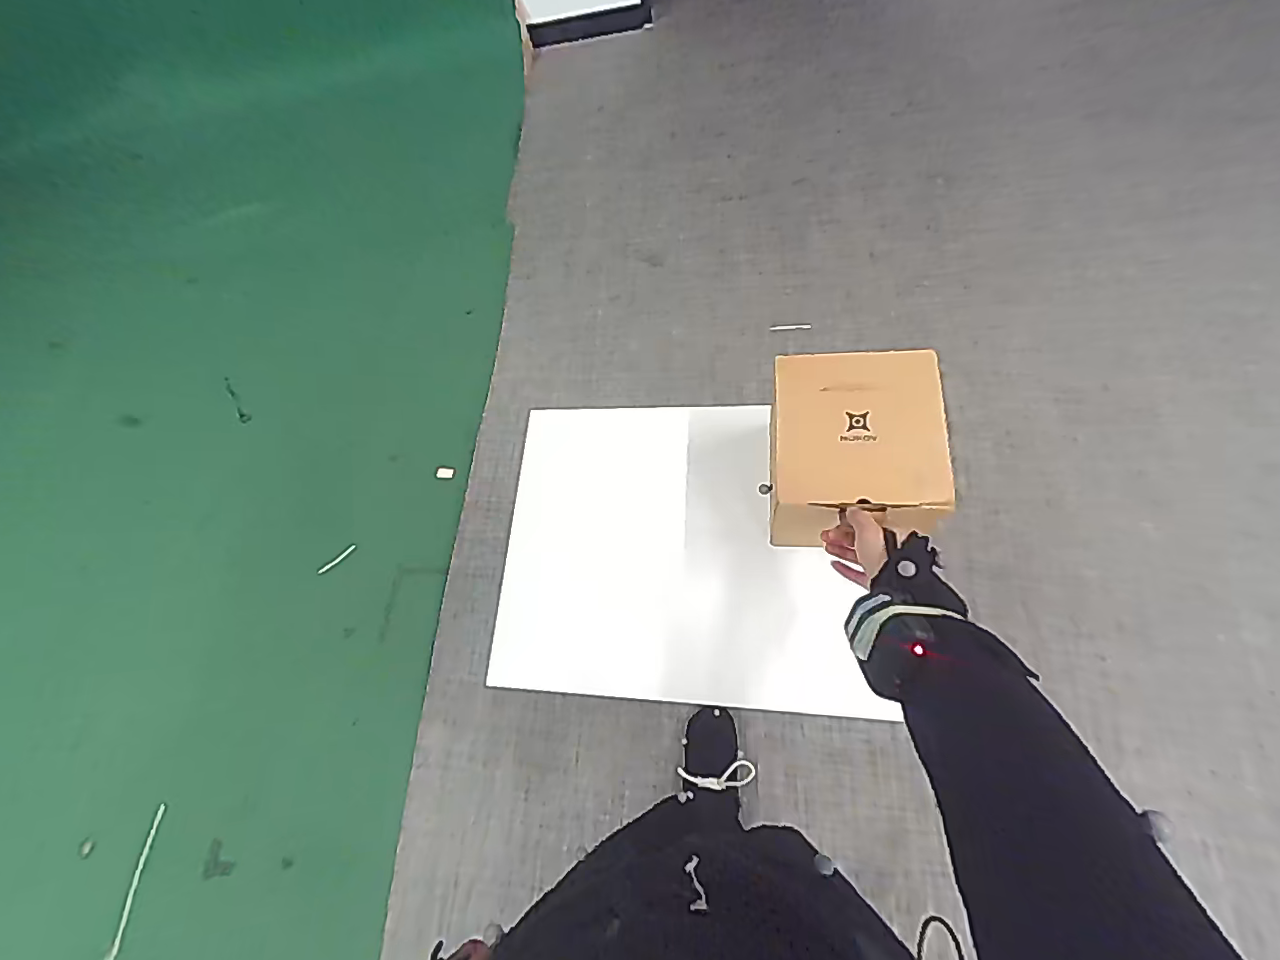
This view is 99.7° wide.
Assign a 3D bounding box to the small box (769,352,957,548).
[{"bbox_3d":[0.238,-0.024,0.622,0.168,0.176,0.179,0,68,11],"label":"small box"}]
